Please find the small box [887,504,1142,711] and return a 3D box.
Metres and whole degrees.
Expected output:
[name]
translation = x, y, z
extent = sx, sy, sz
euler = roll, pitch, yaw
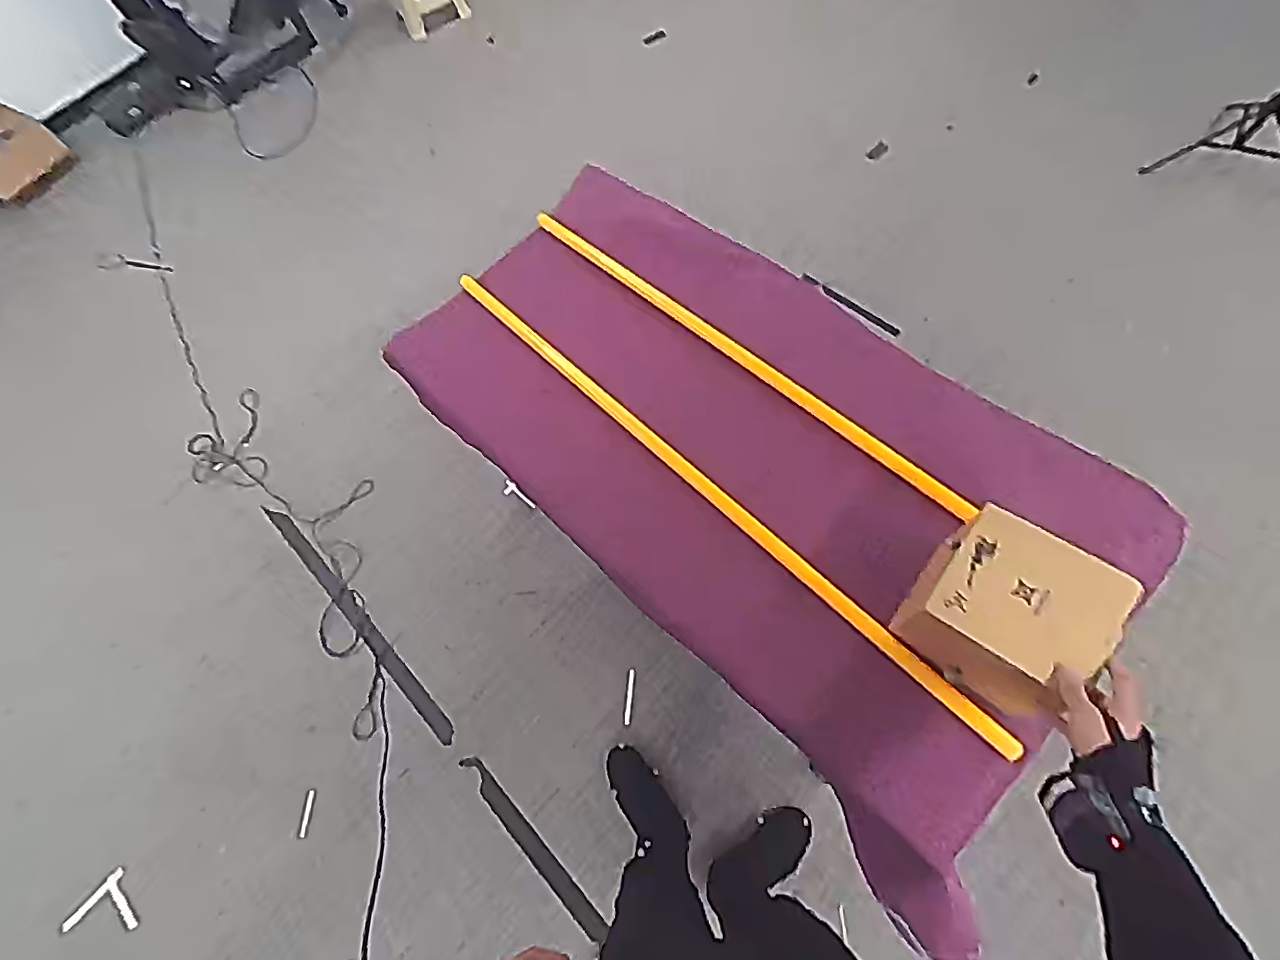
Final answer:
[small box]
translation = 0.449, 0.164, 0.679
extent = 0.179, 0.176, 0.168
euler = 35, 75, 21
